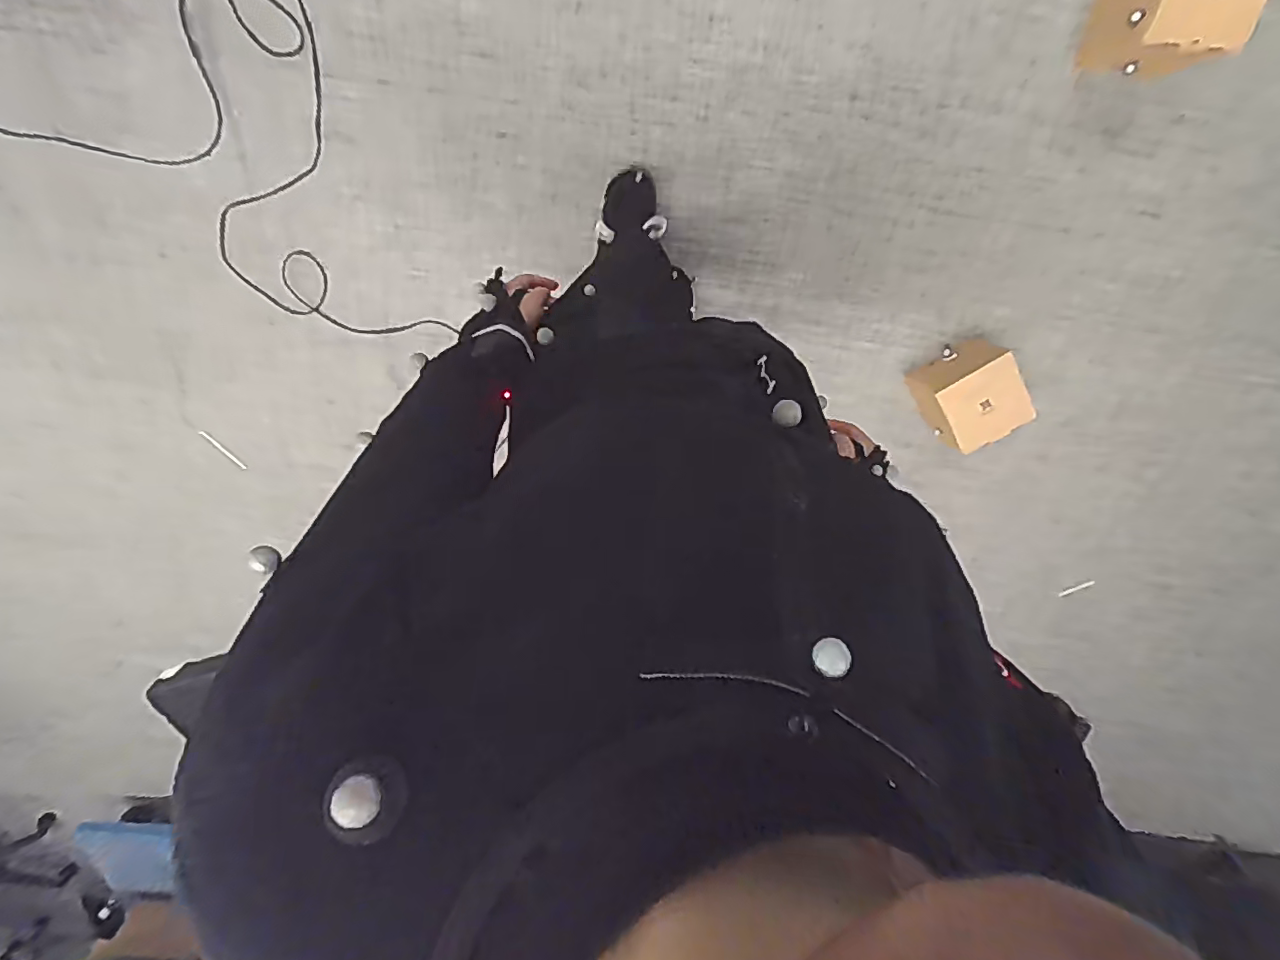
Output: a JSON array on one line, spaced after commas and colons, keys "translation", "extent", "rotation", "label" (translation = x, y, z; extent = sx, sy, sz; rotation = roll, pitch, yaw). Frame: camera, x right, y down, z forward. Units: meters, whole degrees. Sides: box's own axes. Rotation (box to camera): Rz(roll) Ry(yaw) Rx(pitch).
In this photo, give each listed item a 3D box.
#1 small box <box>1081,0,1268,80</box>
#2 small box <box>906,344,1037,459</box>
[{"translation": [0.906, -0.807, 0.911], "extent": [0.168, 0.176, 0.179], "rotation": [5, 117, 0], "label": "small box"}, {"translation": [0.741, -0.183, 1.223], "extent": [0.168, 0.176, 0.179], "rotation": [-33, 110, 15], "label": "small box"}]
